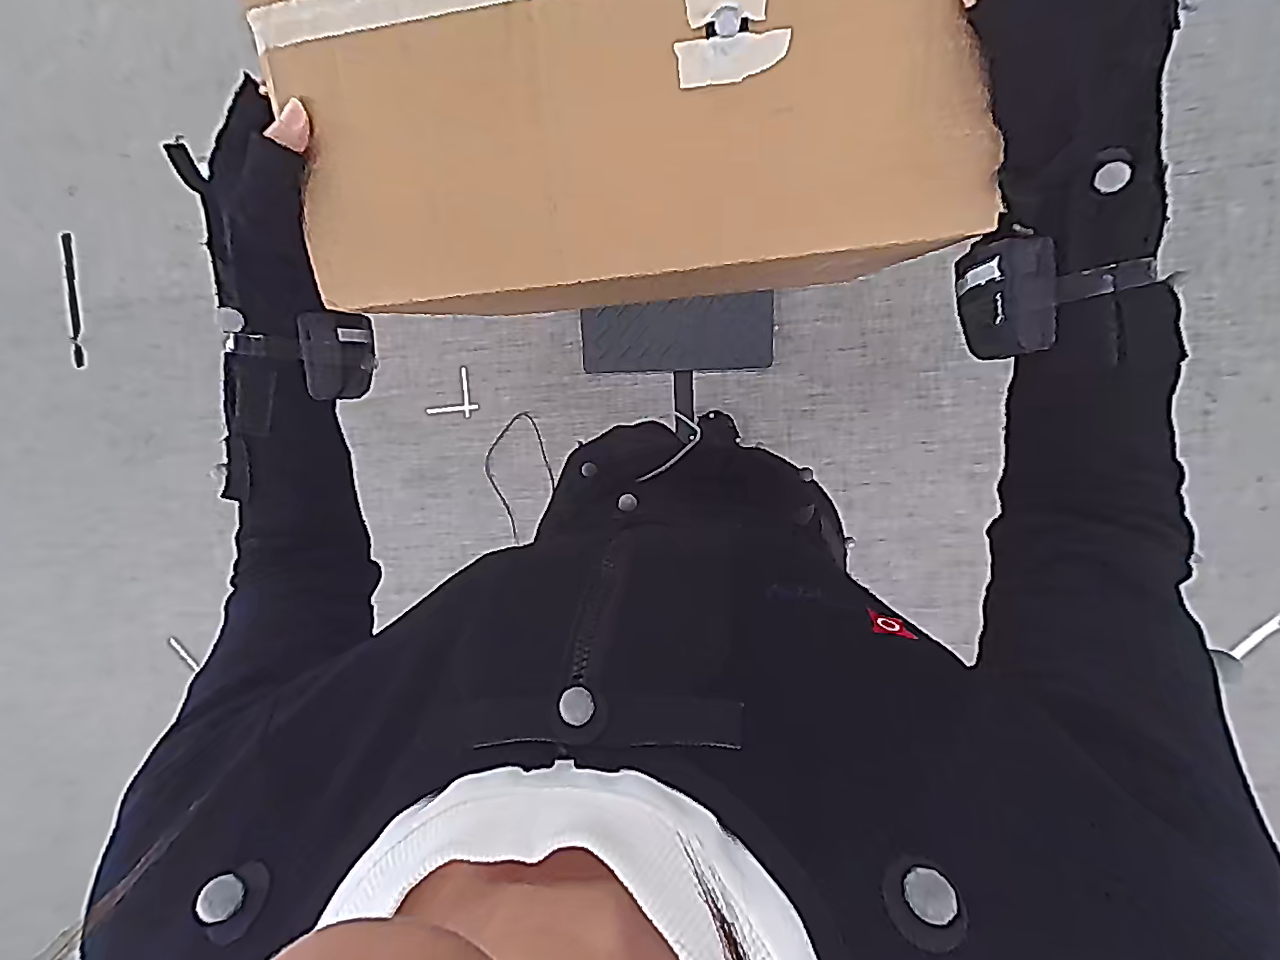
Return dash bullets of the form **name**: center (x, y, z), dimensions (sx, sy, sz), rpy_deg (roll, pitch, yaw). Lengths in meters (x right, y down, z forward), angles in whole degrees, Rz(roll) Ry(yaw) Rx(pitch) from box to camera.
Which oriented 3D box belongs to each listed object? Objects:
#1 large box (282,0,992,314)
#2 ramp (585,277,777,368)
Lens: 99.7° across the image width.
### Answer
- **large box**: center (0.000, -0.322, 0.439), dimensions (0.408, 0.320, 0.320), rpy_deg (-4, 106, 9)
- **ramp**: center (0.083, -0.780, 1.281), dimensions (0.509, 0.206, 0.991), rpy_deg (-2, 95, 8)
